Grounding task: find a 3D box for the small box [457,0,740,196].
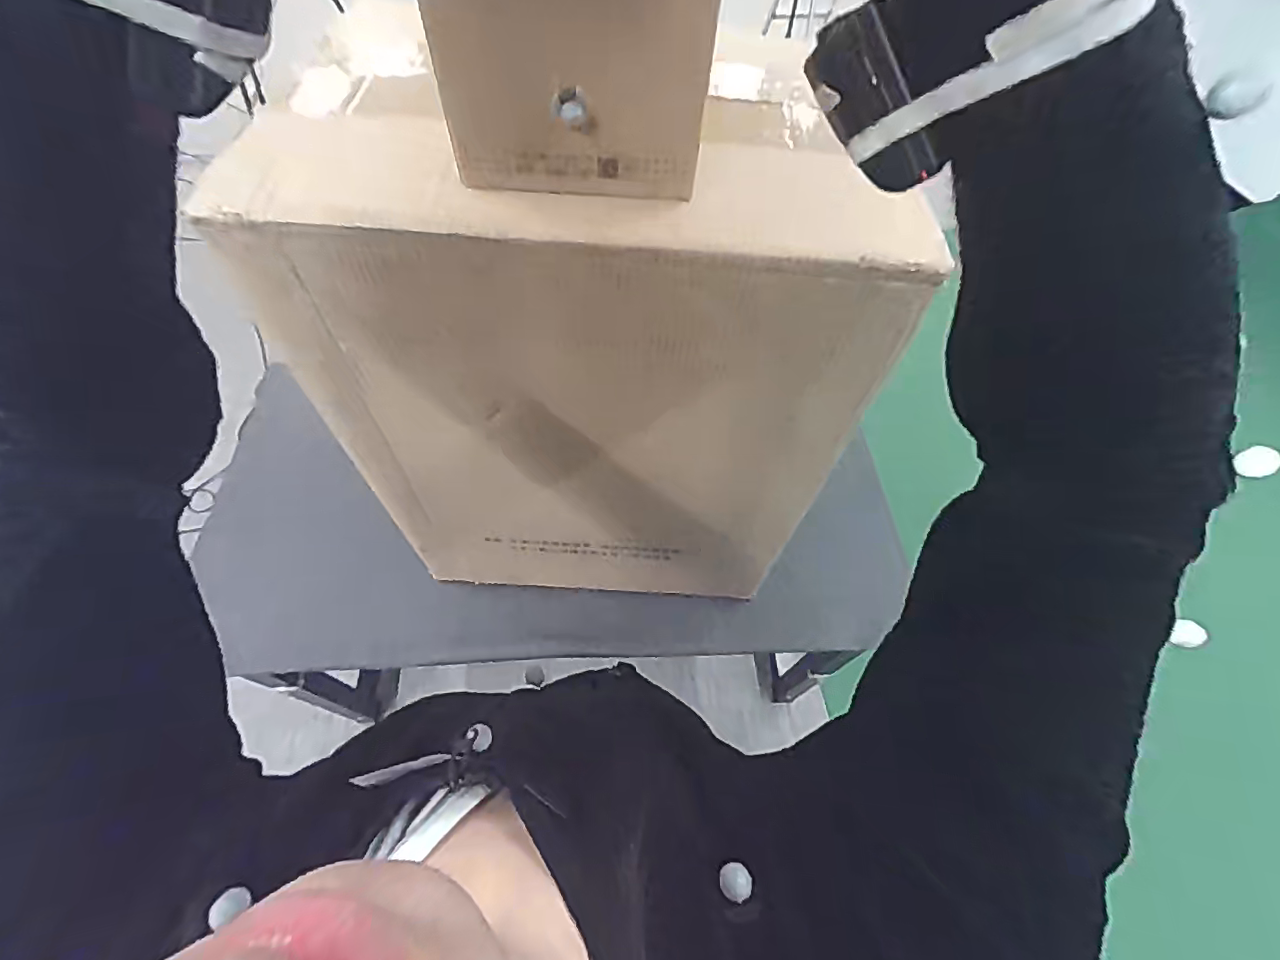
[{"bbox_3d":[-0.026,-0.326,0.366,0.168,0.176,0.179,2,59,-2],"label":"small box"}]
